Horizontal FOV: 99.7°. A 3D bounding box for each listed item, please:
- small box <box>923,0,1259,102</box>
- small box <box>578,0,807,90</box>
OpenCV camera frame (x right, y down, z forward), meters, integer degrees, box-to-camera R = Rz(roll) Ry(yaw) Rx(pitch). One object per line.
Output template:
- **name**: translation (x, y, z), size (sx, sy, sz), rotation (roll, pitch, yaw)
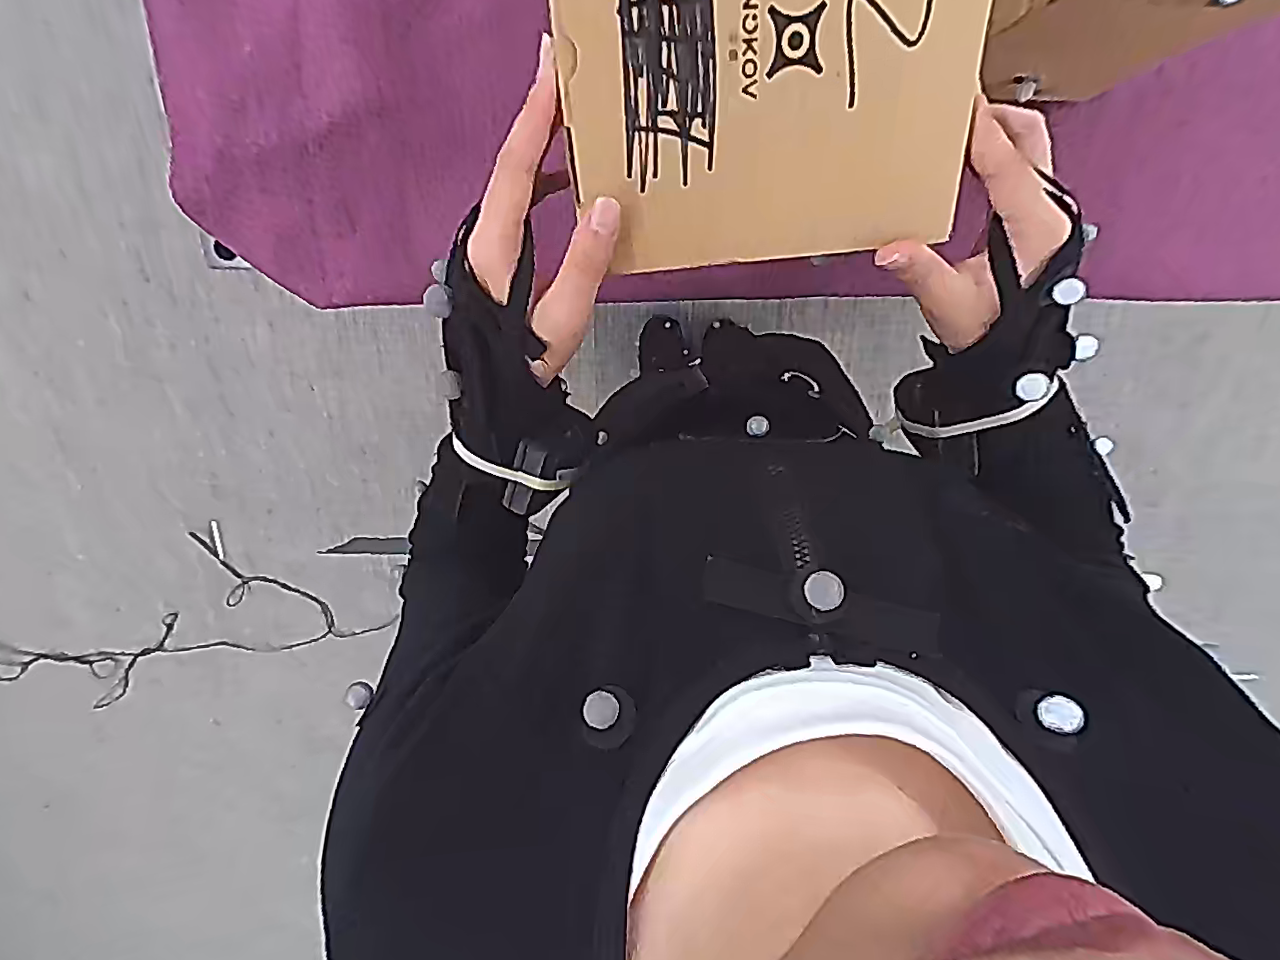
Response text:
- **small box**: translation (0.353, -0.433, 0.425), size (0.168, 0.176, 0.179), rotation (2, 108, -1)
- **small box**: translation (0.038, -0.433, 0.424), size (0.179, 0.176, 0.168), rotation (0, 108, -1)
